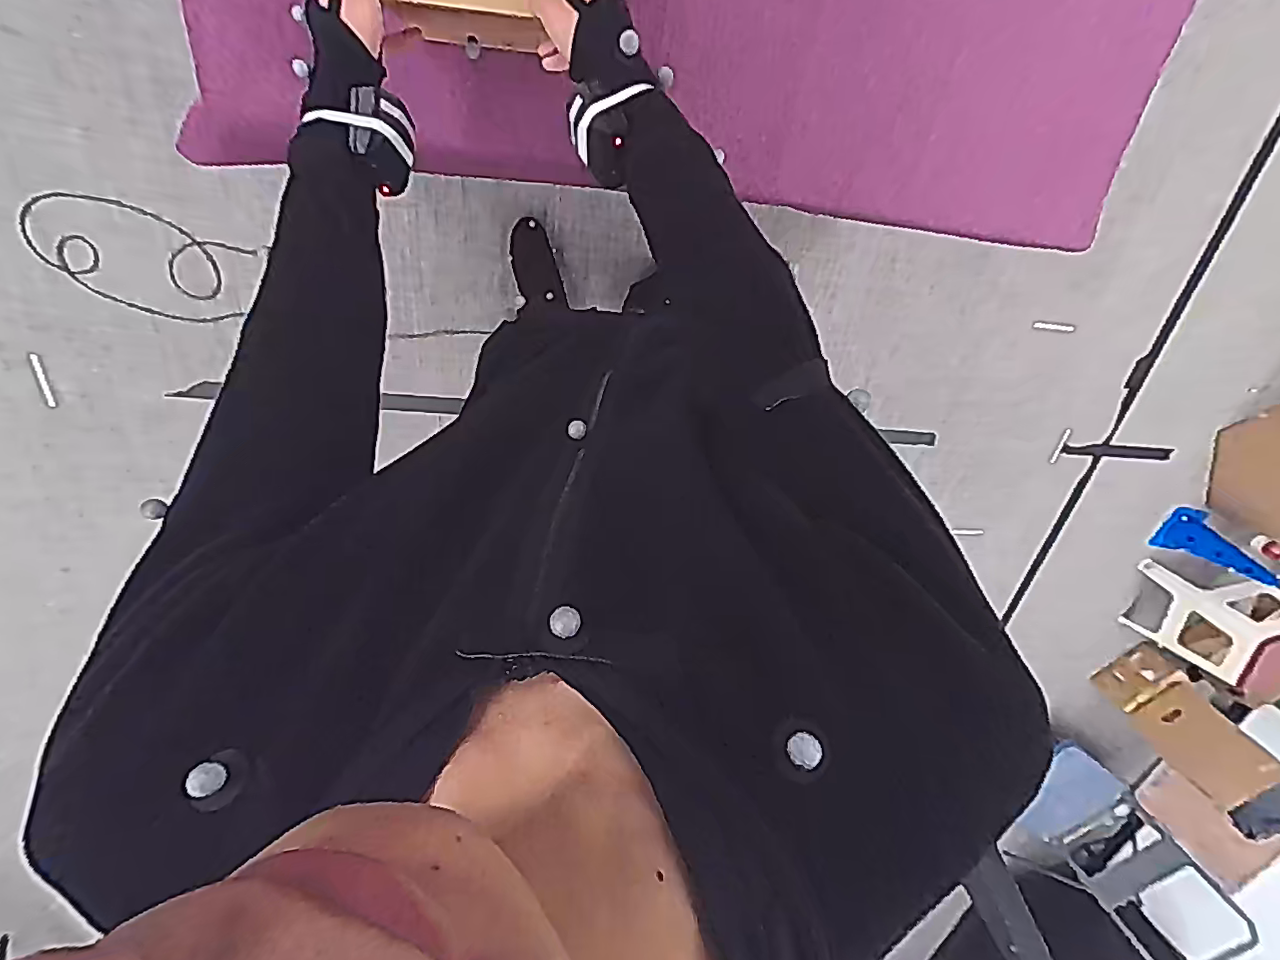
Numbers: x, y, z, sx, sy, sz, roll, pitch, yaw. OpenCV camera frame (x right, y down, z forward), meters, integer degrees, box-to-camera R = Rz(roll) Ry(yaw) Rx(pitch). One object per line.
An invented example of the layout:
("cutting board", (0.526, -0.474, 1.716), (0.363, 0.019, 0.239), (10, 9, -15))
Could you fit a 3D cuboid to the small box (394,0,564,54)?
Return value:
("small box", (-0.156, -0.530, 0.502), (0.168, 0.176, 0.179), (-1, 119, -10))
